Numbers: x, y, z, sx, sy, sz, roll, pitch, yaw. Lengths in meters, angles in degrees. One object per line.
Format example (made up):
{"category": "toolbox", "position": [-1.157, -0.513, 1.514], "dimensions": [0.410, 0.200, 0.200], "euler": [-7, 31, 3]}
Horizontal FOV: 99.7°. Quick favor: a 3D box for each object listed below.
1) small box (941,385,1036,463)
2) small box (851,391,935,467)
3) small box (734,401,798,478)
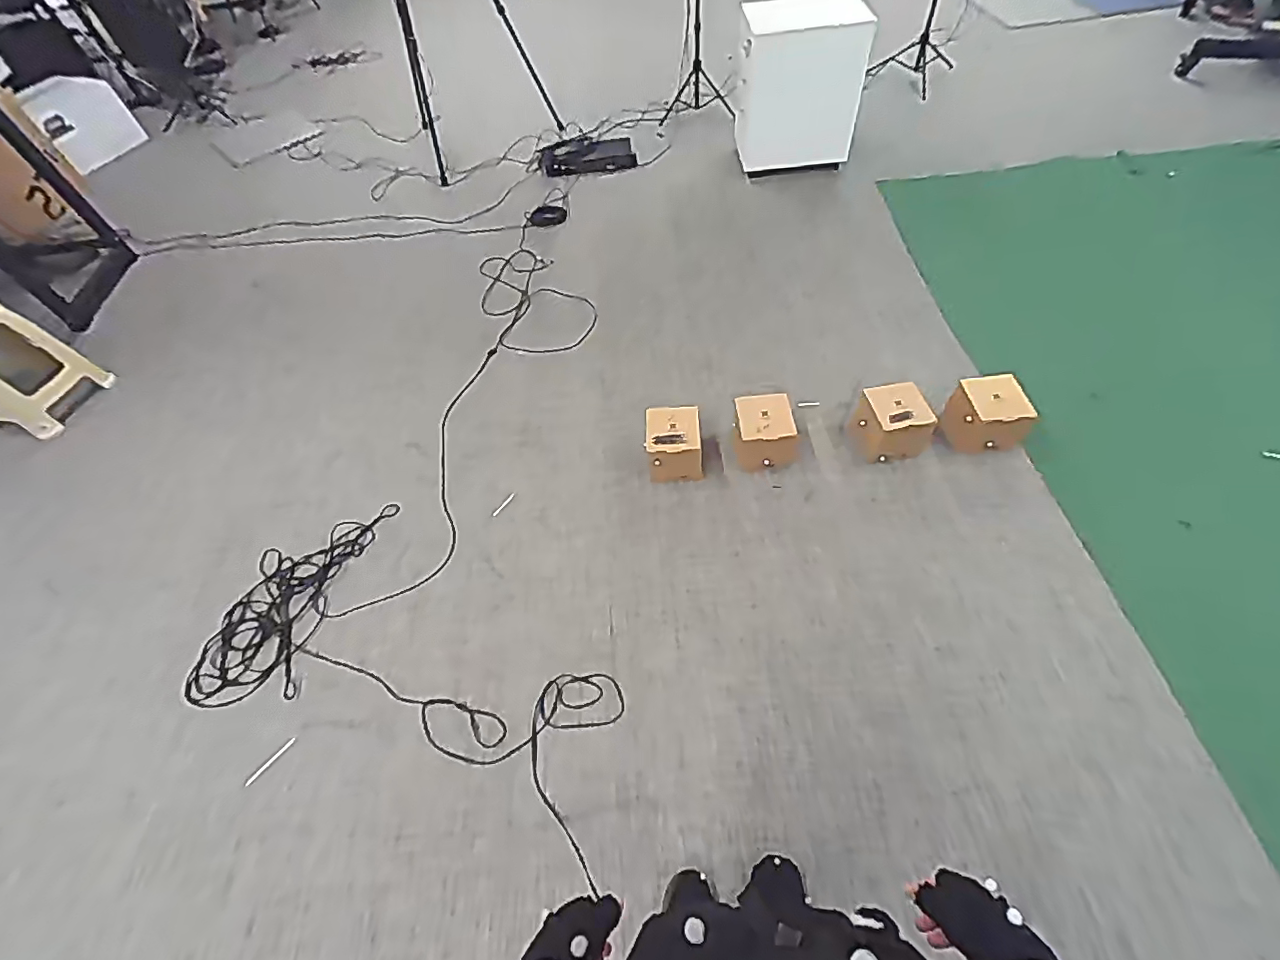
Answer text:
{"category": "small box", "position": [1.088, -0.176, 1.708], "dimensions": [0.168, 0.176, 0.179], "euler": [-6, 55, 2]}
{"category": "small box", "position": [0.797, -0.155, 1.718], "dimensions": [0.168, 0.176, 0.179], "euler": [-8, 54, -1]}
{"category": "small box", "position": [0.396, -0.129, 1.733], "dimensions": [0.168, 0.176, 0.179], "euler": [-5, 55, 3]}
